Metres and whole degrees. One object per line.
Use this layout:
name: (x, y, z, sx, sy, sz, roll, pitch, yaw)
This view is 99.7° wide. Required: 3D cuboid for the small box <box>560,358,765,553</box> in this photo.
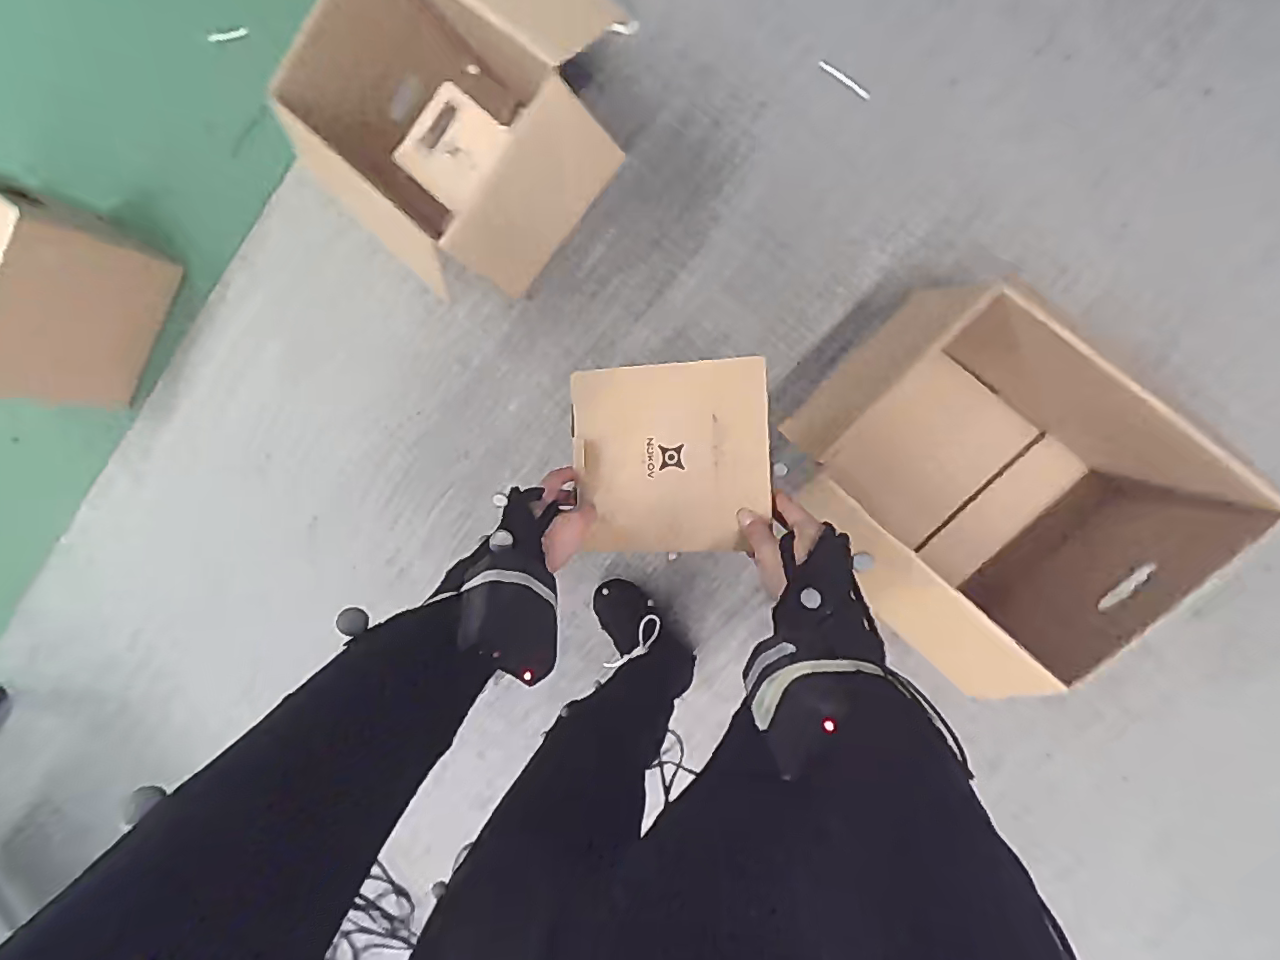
small box: (0.033, -0.018, 0.545, 0.179, 0.176, 0.168, -3, 91, 12)
